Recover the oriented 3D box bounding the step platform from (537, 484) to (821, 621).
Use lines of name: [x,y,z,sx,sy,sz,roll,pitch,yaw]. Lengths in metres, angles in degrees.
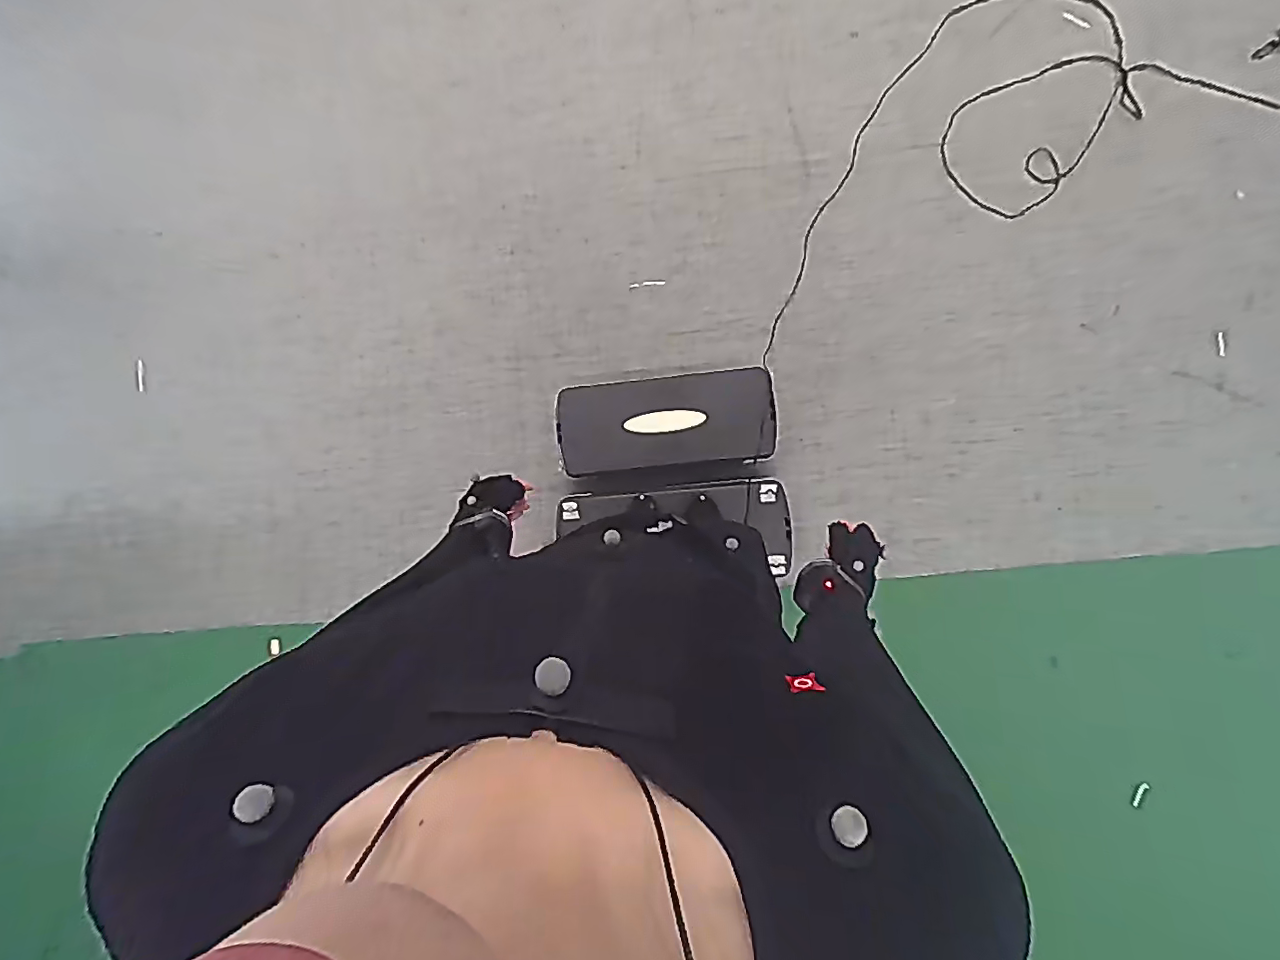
step platform: [0.093,0.180,1.391,0.684,0.204,0.286,-5,87,3]
